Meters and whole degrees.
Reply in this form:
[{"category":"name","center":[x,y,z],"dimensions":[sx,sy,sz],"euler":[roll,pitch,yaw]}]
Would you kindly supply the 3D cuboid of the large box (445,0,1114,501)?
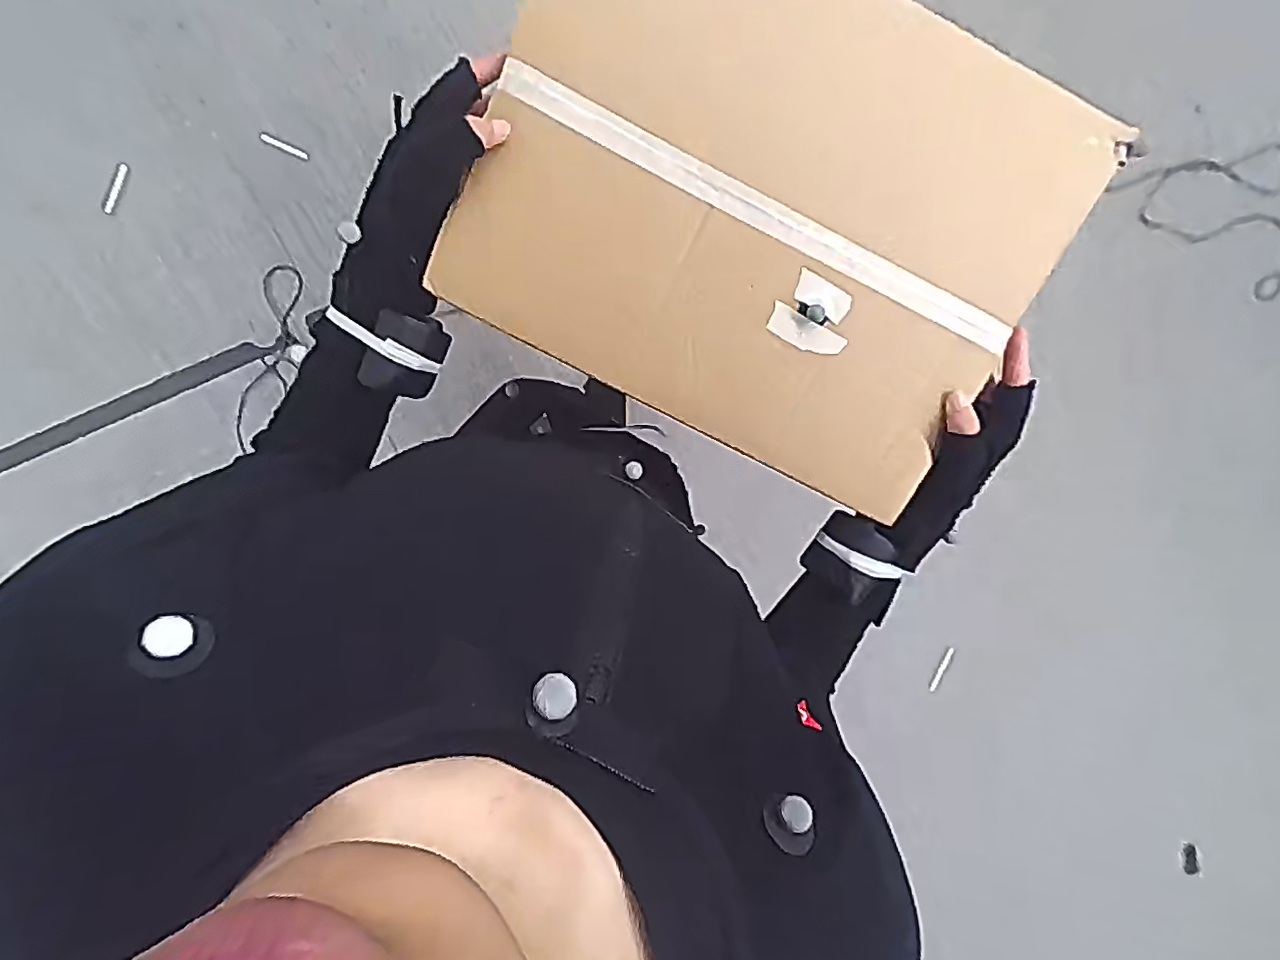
[{"category":"large box","center":[0.094,-0.230,0.541],"dimensions":[0.408,0.320,0.320],"euler":[27,103,-5]}]
